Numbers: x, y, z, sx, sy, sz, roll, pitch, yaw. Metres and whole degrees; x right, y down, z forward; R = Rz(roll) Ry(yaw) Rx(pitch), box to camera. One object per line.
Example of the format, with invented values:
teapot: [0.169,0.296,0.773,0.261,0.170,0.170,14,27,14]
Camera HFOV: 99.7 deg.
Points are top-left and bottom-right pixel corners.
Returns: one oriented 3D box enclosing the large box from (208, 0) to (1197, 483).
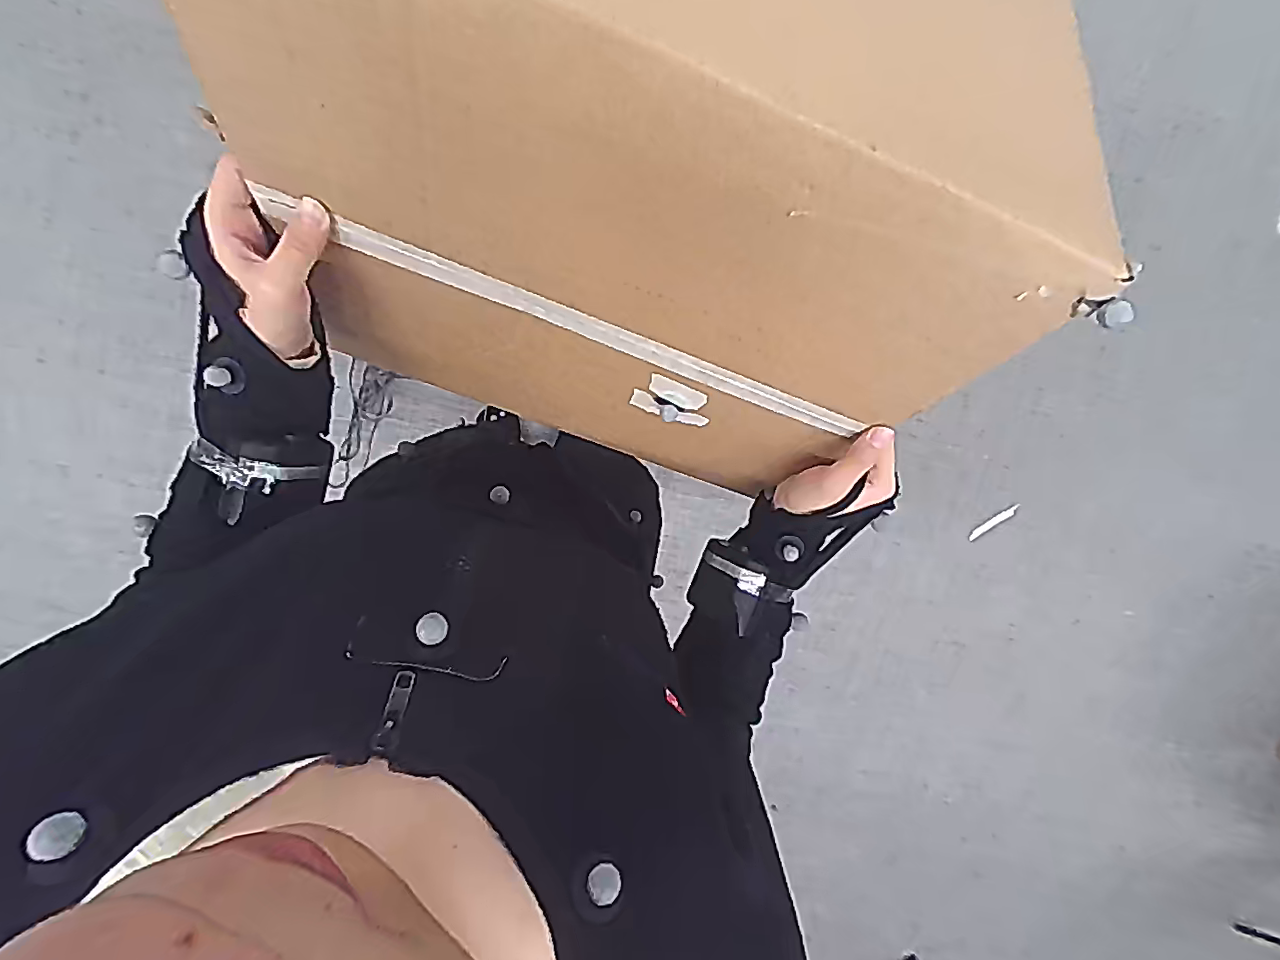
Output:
large box: [0.023,-0.241,0.373,0.408,0.320,0.320,18,67,-10]
